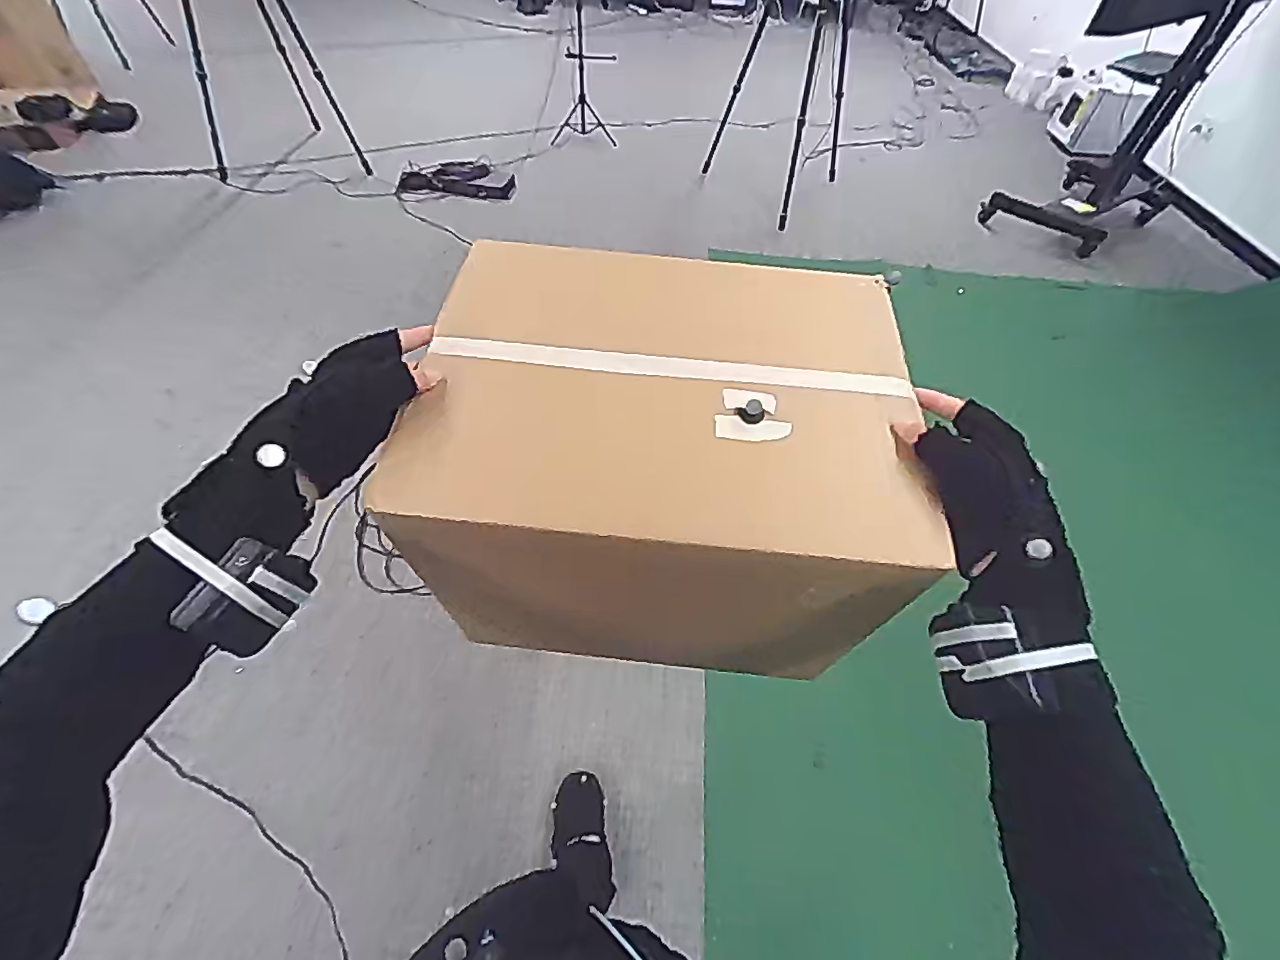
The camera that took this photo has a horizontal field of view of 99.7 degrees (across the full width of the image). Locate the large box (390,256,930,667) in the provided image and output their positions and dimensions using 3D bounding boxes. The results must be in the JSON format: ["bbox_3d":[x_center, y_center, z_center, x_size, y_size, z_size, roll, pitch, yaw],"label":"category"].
[{"bbox_3d":[0.016,-0.005,0.595,0.408,0.320,0.320,6,56,0],"label":"large box"}]
